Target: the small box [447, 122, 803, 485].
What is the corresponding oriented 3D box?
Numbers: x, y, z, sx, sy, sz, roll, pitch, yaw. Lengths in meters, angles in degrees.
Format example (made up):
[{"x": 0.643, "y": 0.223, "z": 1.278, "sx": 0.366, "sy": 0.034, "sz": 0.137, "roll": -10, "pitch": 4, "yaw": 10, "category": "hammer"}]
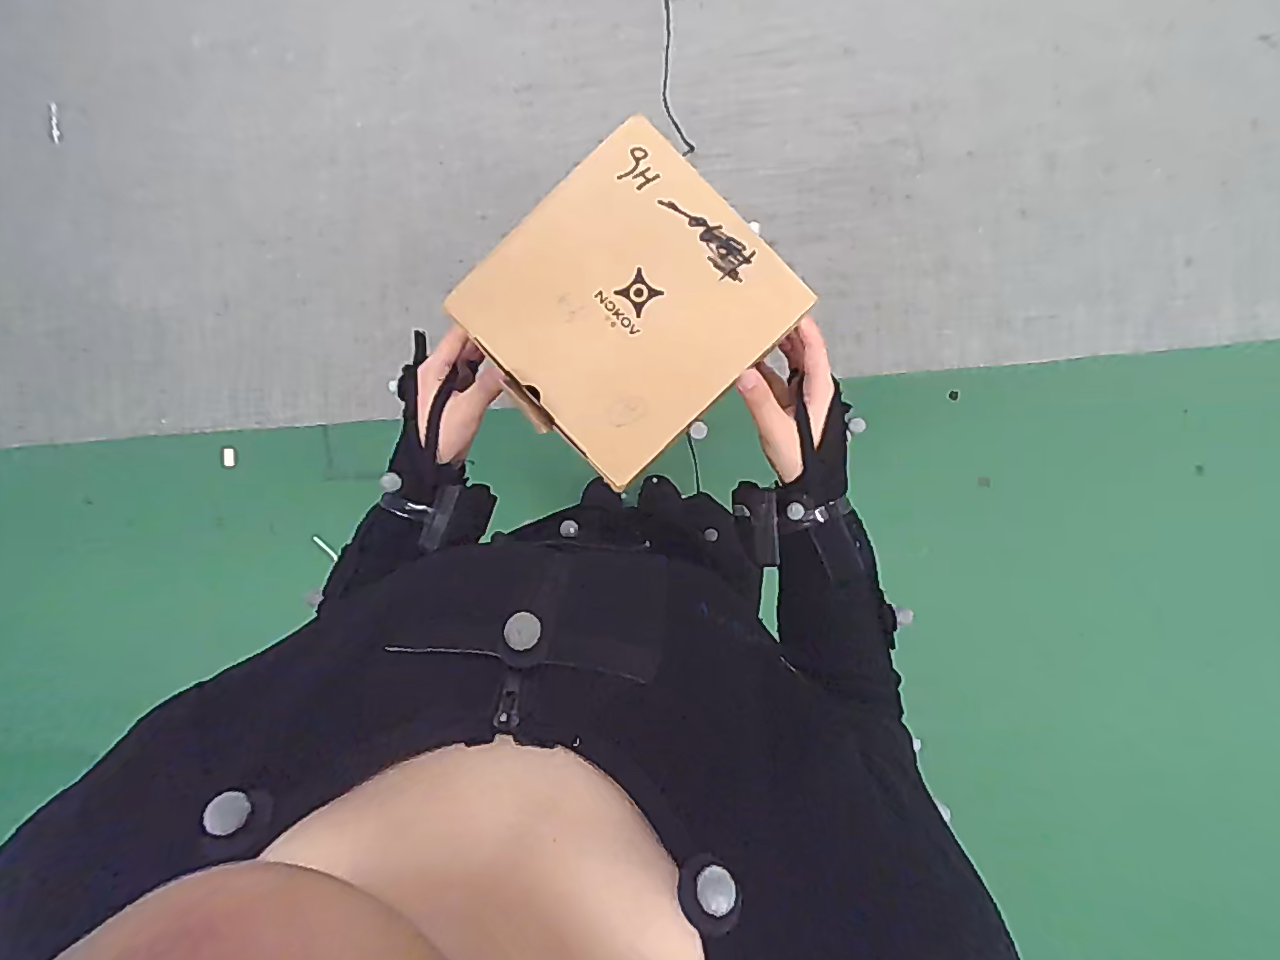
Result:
[{"x": -0.007, "y": -0.114, "z": 0.426, "sx": 0.179, "sy": 0.176, "sz": 0.168, "roll": -44, "pitch": 90, "yaw": 3, "category": "small box"}]
